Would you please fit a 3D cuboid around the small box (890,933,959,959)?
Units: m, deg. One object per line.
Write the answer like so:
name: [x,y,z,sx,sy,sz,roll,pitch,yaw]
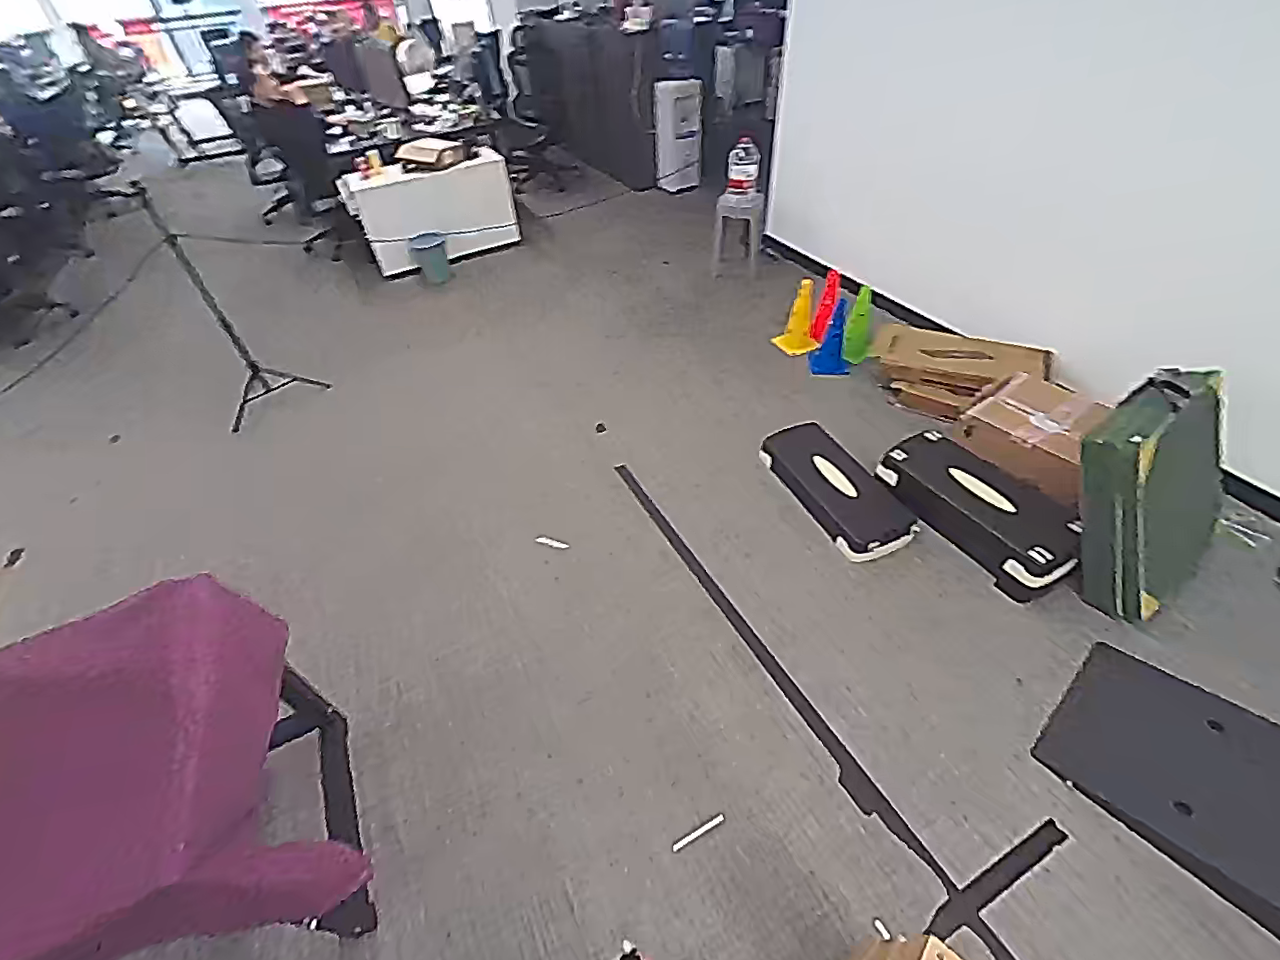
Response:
small box: [0.470,0.868,0.845,0.168,0.176,0.179,31,56,29]
